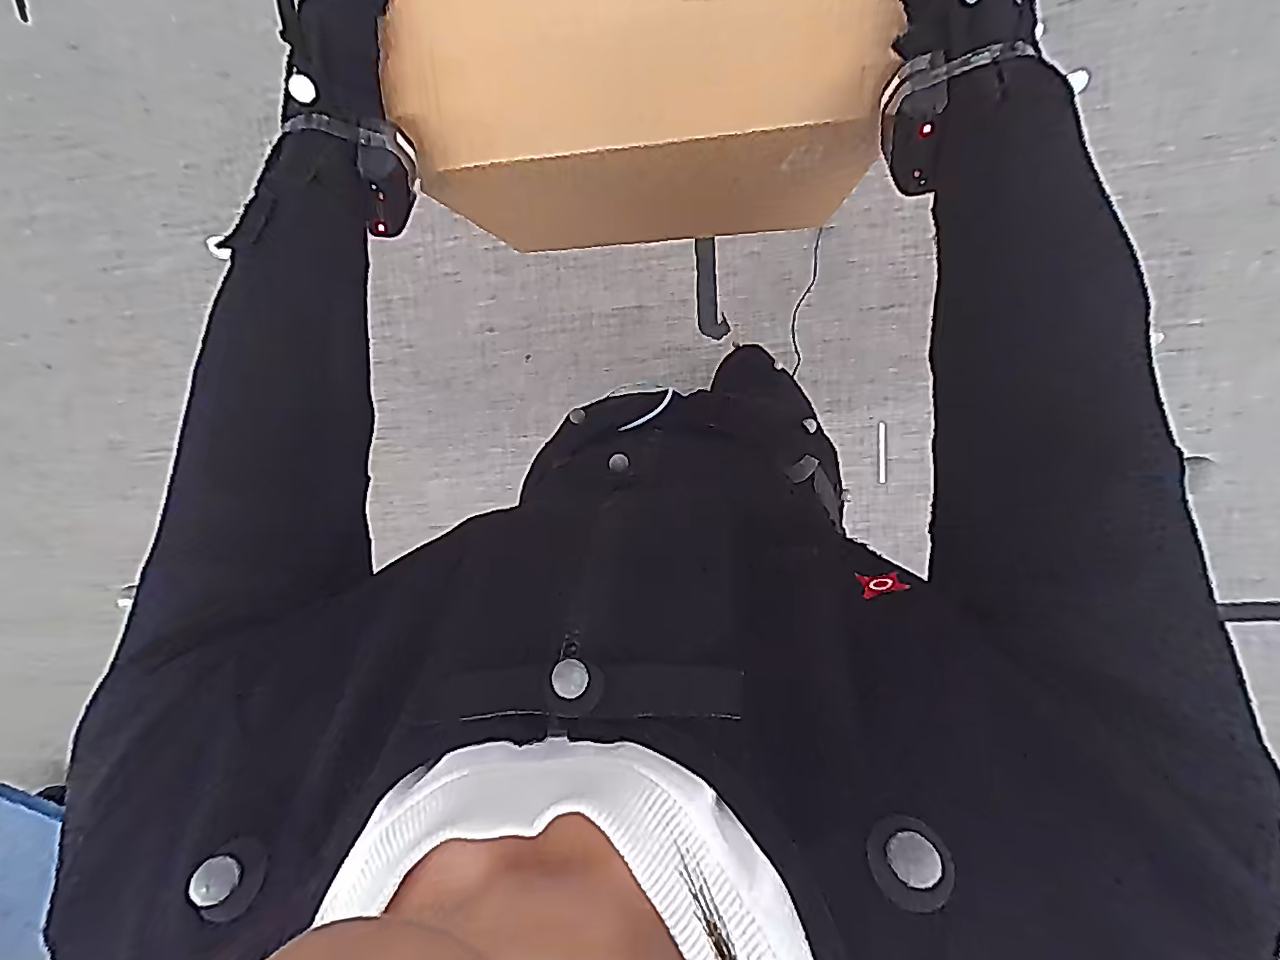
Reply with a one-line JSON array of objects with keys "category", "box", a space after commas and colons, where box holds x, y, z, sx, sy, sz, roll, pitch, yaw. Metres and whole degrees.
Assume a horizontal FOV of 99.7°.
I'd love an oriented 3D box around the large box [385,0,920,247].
[{"category": "large box", "box": [0.010, -0.446, 0.536, 0.408, 0.320, 0.320, -3, 102, 7]}]
